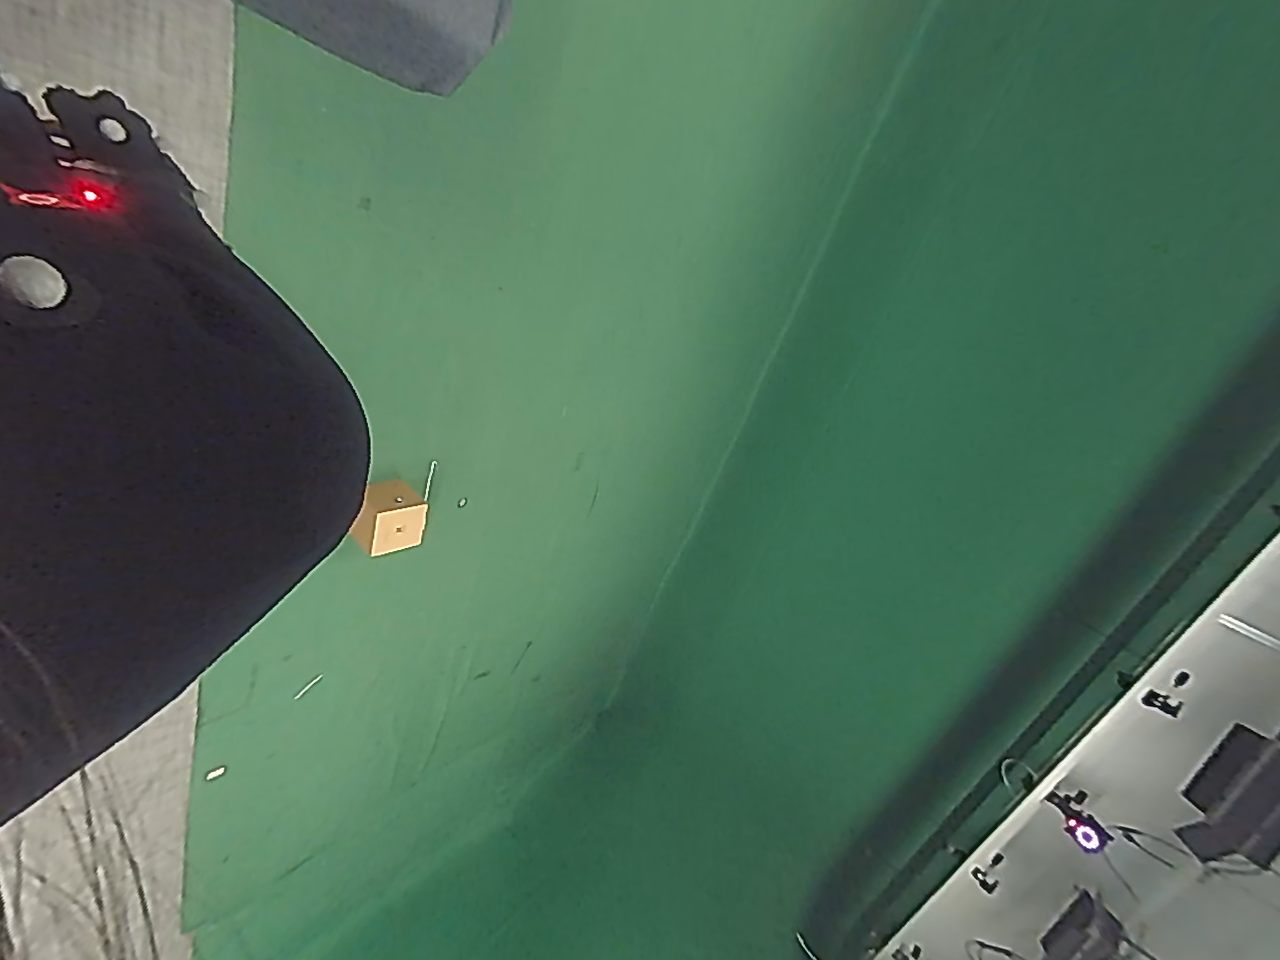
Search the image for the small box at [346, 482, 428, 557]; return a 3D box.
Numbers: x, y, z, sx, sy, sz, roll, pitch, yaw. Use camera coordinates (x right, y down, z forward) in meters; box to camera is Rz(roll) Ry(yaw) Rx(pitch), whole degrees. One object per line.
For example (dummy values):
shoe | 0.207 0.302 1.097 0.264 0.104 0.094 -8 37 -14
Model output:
small box | -0.828 0.120 1.769 0.179 0.176 0.168 -14 130 -52
